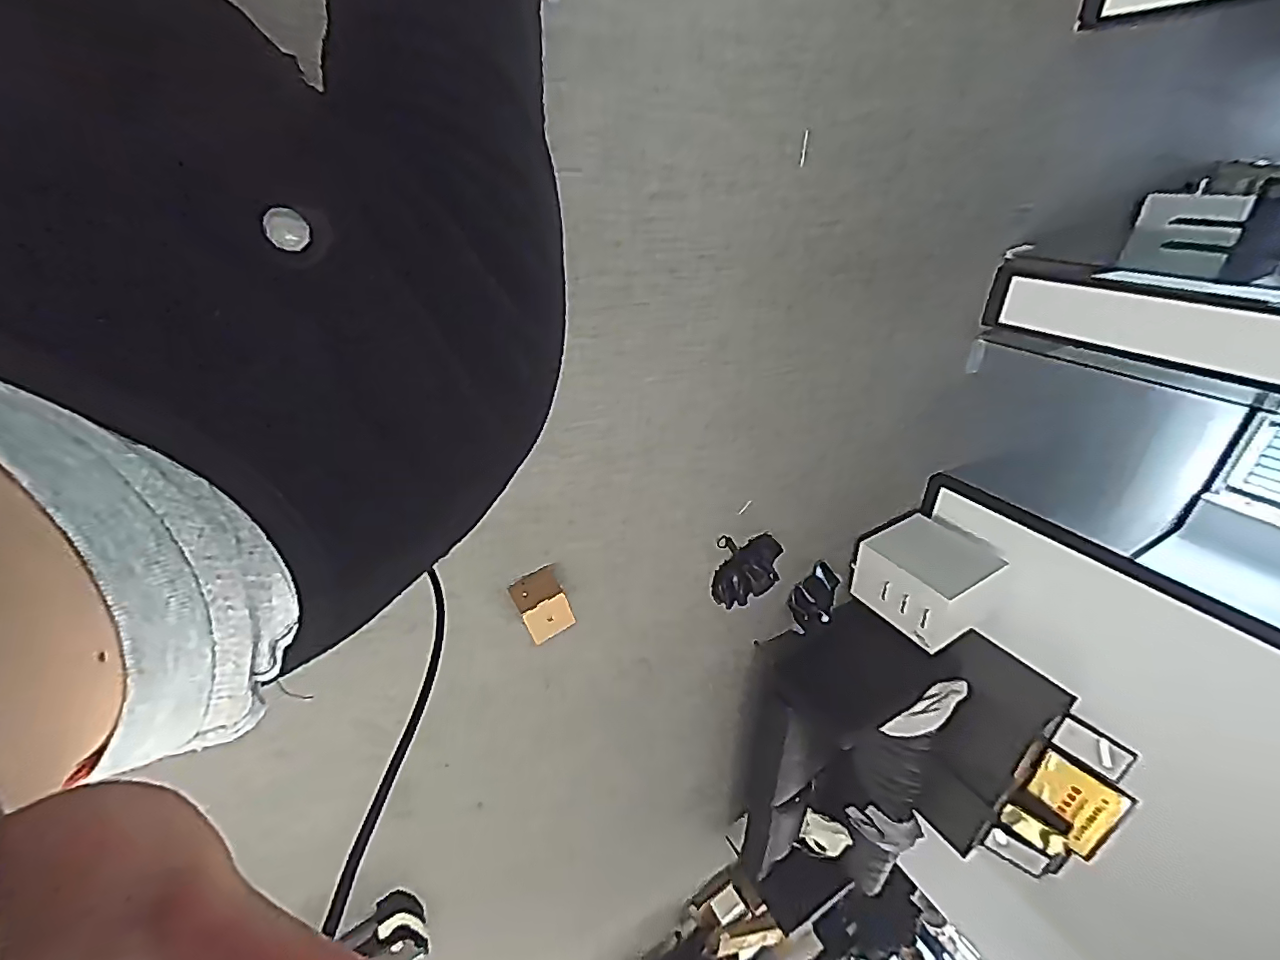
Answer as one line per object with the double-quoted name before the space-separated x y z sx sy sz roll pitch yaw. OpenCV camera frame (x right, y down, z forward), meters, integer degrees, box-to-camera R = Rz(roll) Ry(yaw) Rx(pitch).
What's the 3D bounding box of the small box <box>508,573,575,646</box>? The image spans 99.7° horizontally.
"small box" -0.368 0.467 1.998 0.168 0.176 0.179 -28 130 -16
